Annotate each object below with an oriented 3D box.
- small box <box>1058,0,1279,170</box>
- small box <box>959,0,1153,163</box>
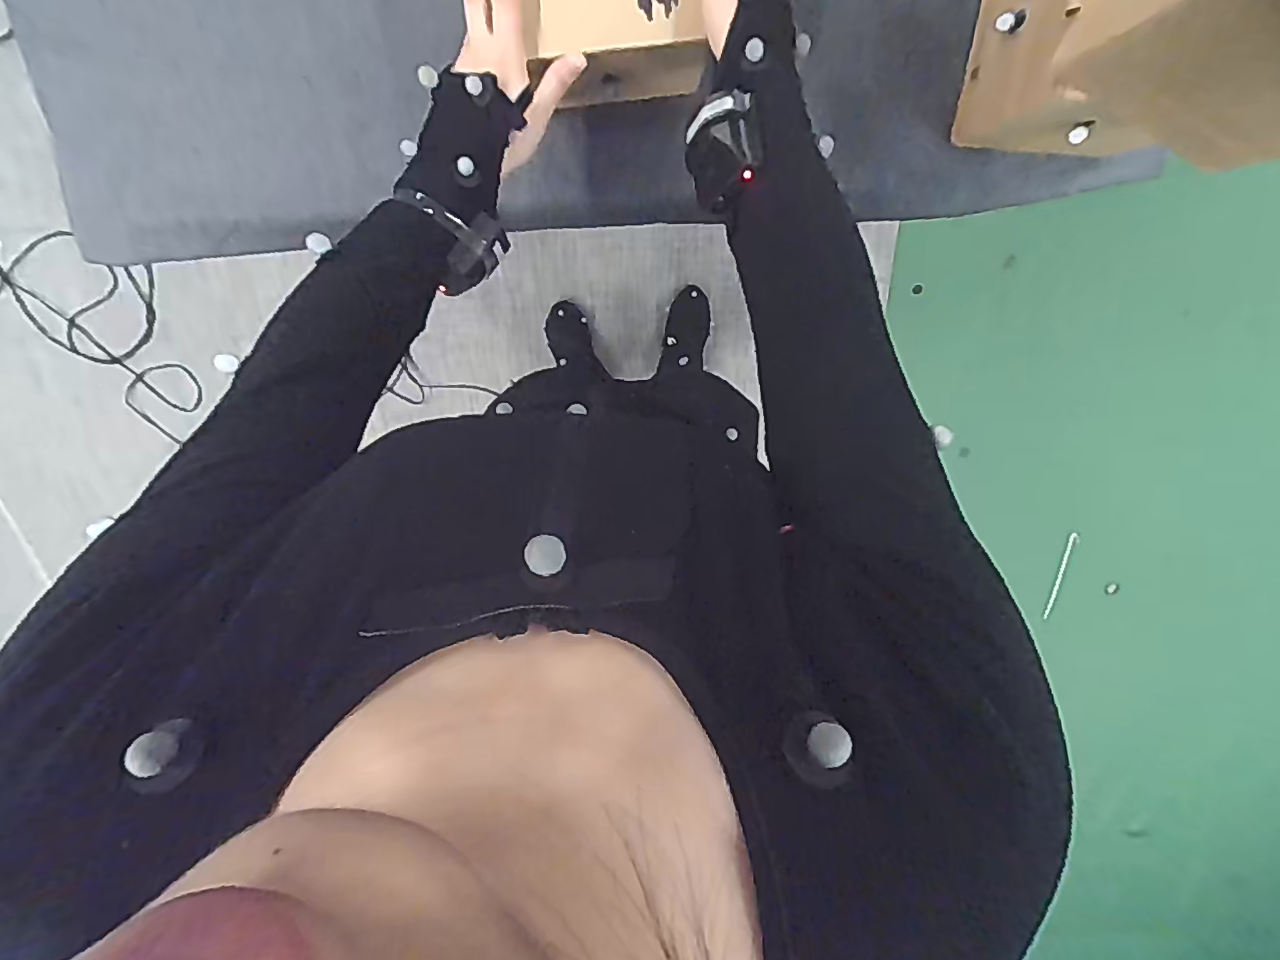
[{"bbox_3d":[0.430,-0.324,0.339,0.179,0.176,0.168,23,109,-9],"label":"small box"},{"bbox_3d":[0.428,-0.397,0.486,0.179,0.176,0.168,4,111,0],"label":"small box"}]
